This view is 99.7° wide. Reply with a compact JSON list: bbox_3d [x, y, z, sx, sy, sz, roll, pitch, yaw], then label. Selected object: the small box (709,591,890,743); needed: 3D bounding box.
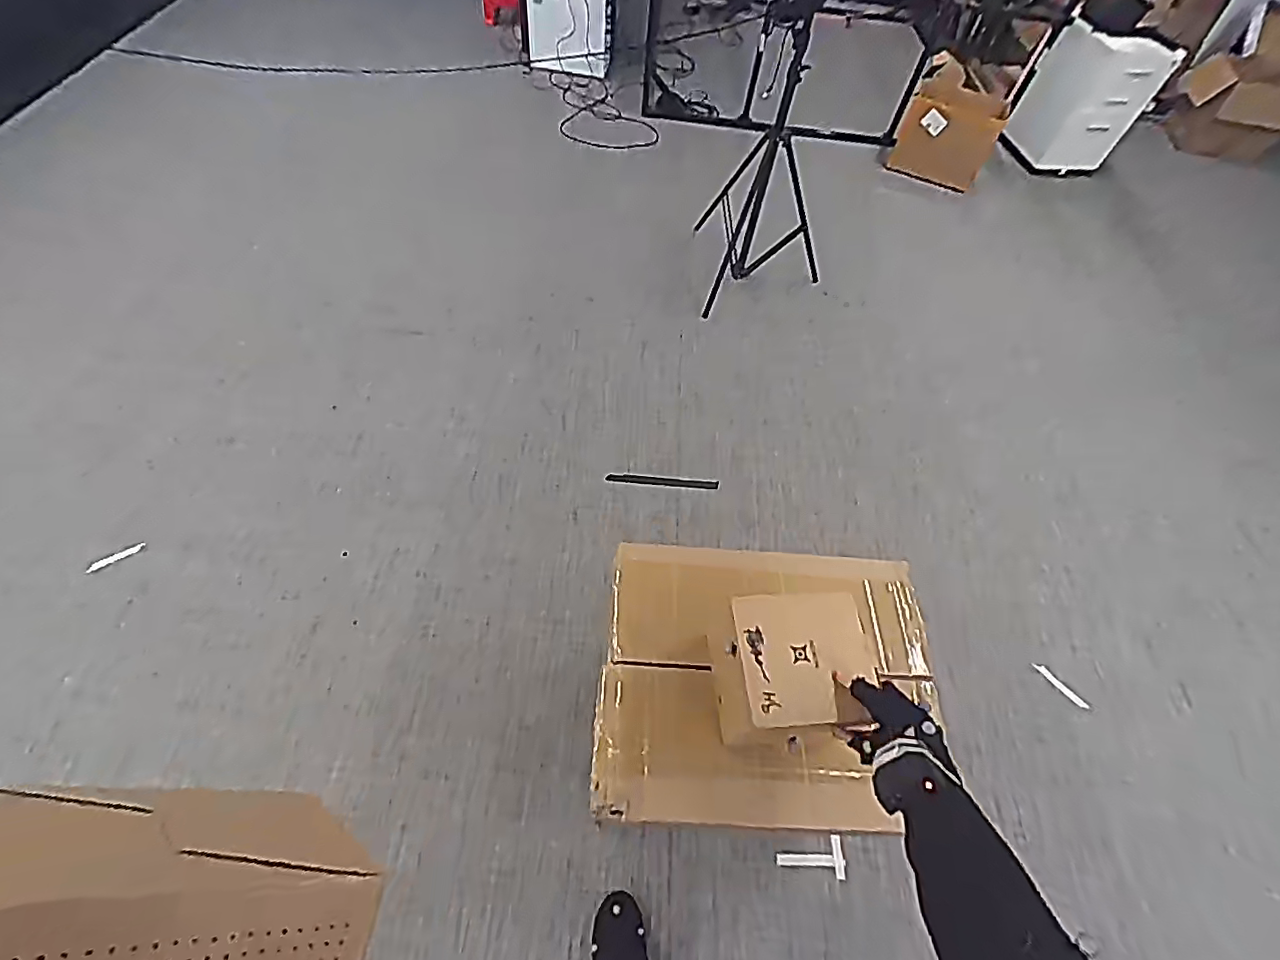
[{"bbox_3d":[0.207,0.264,0.754,0.179,0.176,0.168,-1,57,-7],"label":"small box"}]
